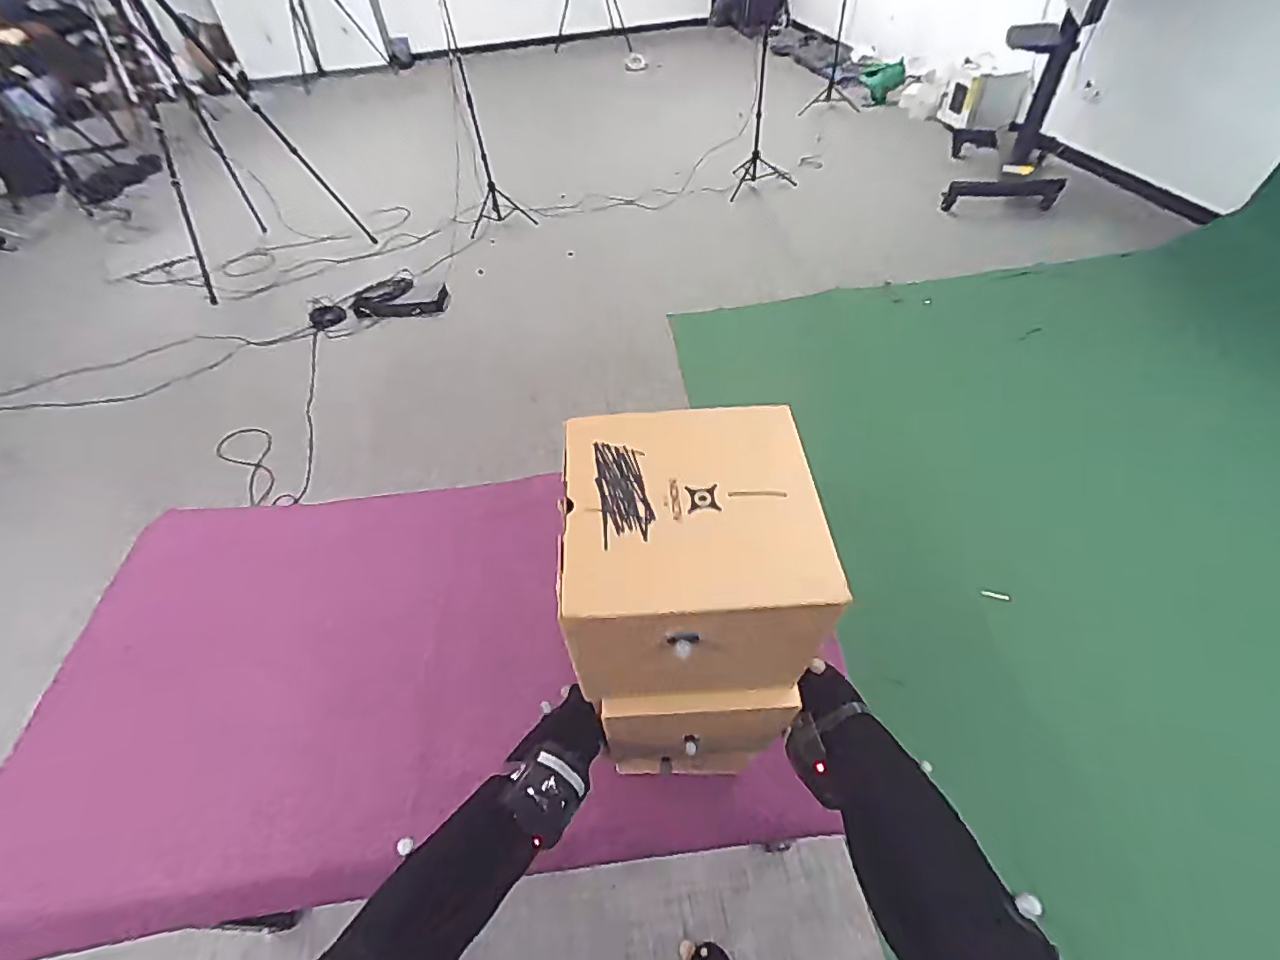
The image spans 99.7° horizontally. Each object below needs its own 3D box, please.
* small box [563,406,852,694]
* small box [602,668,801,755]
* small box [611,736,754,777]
[{"bbox_3d":[0.039,0.061,0.430,0.179,0.176,0.168,-3,51,-2],"label":"small box"},{"bbox_3d":[0.050,0.171,0.552,0.168,0.176,0.179,-2,51,-1],"label":"small box"},{"bbox_3d":[0.055,0.267,0.686,0.168,0.176,0.179,0,51,1],"label":"small box"}]
